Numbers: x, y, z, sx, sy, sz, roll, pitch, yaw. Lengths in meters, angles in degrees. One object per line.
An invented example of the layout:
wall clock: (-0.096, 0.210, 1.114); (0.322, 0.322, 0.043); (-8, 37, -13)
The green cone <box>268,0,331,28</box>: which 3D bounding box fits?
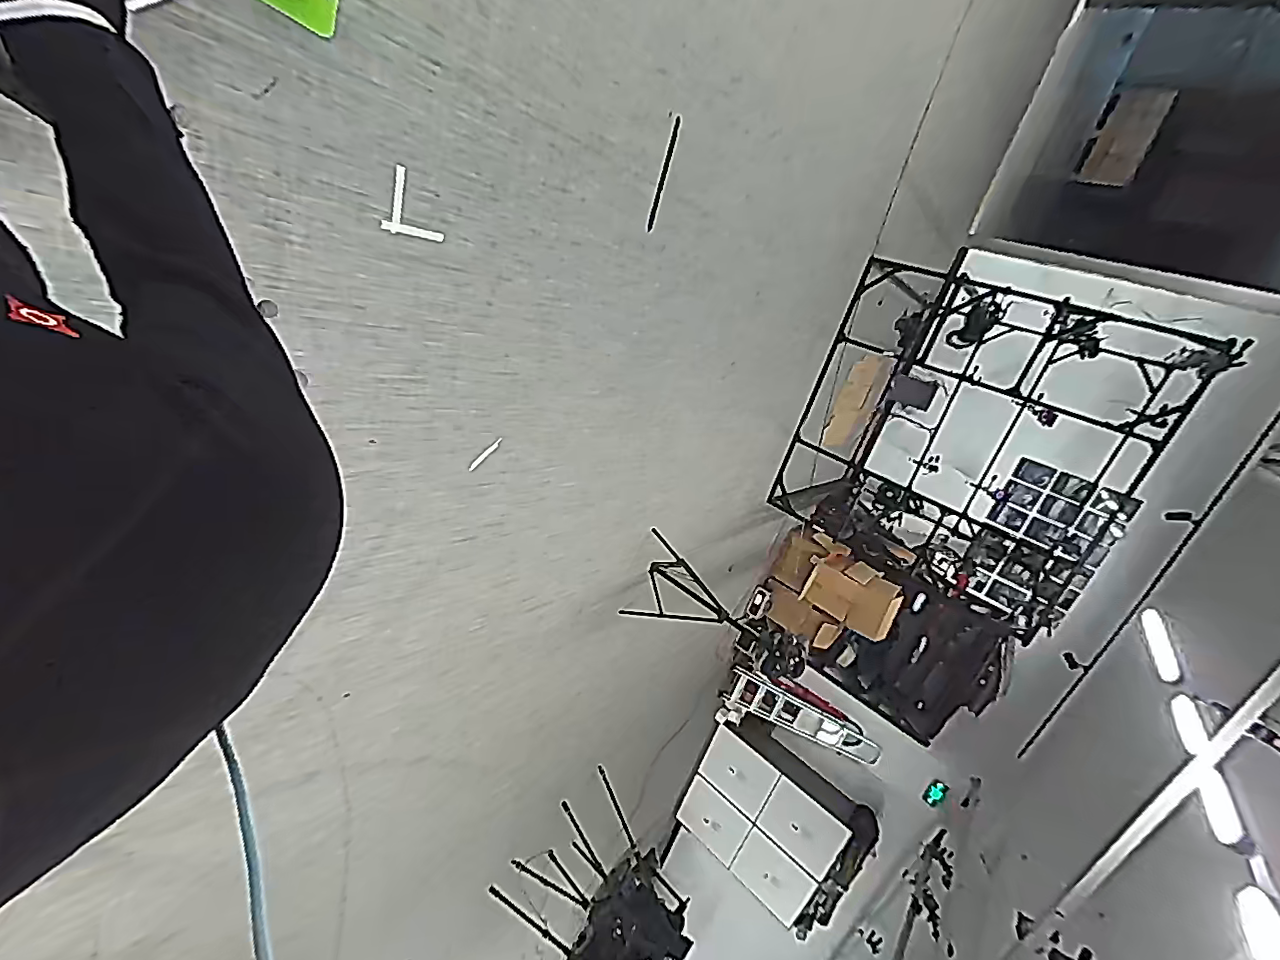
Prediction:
green cone: (-0.557, -0.945, 0.942); (0.202, 0.368, 0.200); (-5, 120, -55)
